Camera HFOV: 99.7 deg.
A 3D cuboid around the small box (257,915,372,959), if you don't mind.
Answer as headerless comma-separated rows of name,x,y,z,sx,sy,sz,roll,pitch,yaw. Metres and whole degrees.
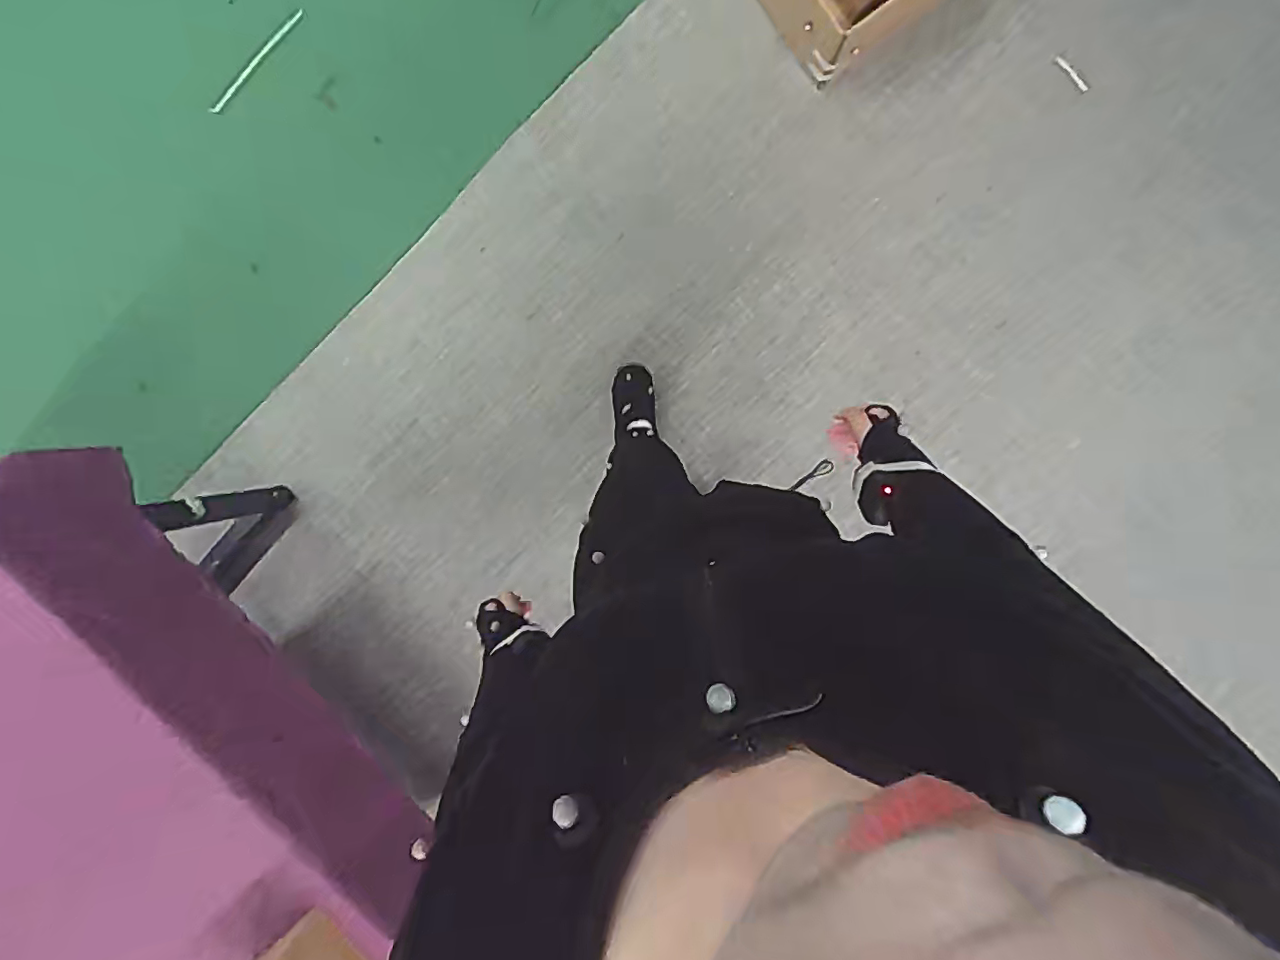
small box,-0.517,0.794,0.791,0.168,0.176,0.179,-43,90,8
